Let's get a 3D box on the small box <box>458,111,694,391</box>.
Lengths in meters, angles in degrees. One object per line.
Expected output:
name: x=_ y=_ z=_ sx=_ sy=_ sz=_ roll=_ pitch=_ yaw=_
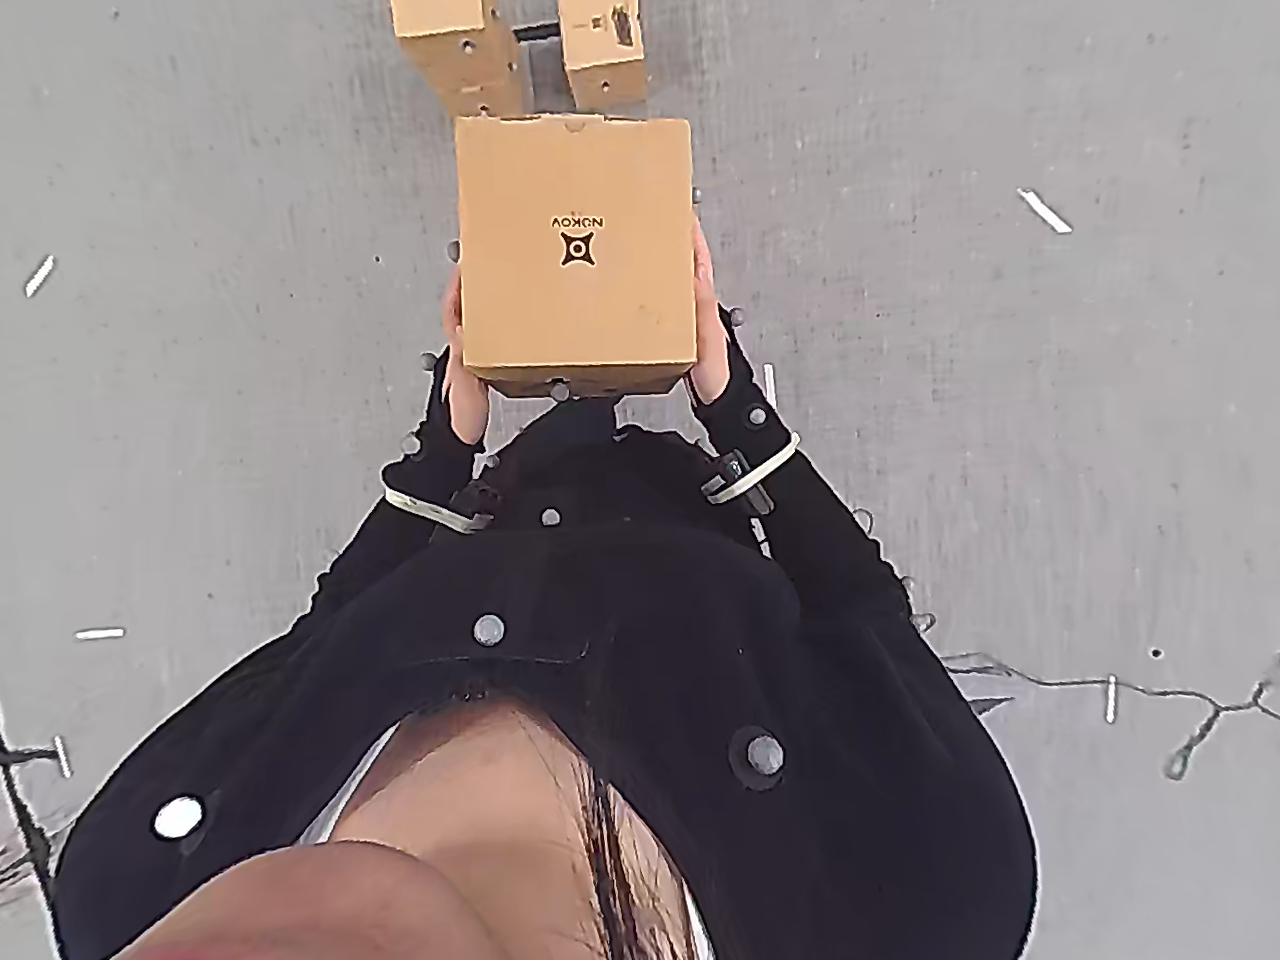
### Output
small box: x=-0.047 y=-0.172 z=0.459 sx=0.168 sy=0.176 sz=0.179 roll=-2 pitch=90 yaw=-4

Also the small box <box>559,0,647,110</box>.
small box: x=-0.077 y=-0.984 z=1.234 sx=0.179 sy=0.176 sz=0.168 roll=-5 pitch=99 yaw=4

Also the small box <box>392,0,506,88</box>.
small box: x=-0.378 y=-0.931 z=1.088 sx=0.179 sy=0.176 sz=0.168 roll=-5 pitch=98 yaw=3
